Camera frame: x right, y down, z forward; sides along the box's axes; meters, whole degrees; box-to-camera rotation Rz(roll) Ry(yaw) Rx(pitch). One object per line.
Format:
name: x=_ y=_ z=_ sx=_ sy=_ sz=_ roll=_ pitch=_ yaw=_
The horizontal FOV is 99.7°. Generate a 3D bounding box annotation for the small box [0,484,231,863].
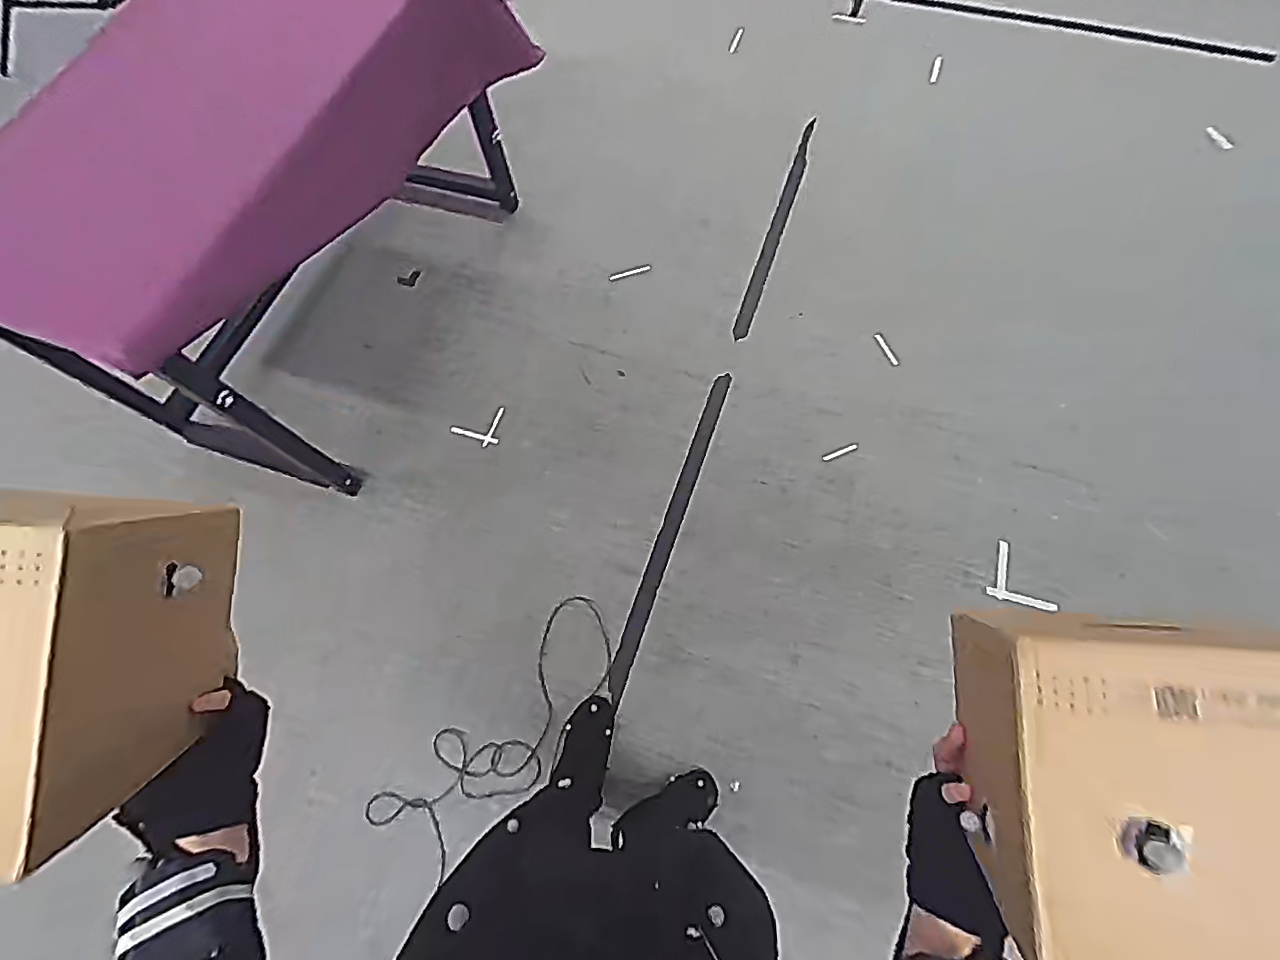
small box: x=-0.373 y=0.086 z=0.310 sx=0.168 sy=0.179 sz=0.176 roll=6 pitch=87 yaw=-13

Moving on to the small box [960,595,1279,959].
small box: x=0.292 y=0.155 z=0.308 sx=0.168 sy=0.179 sz=0.176 roll=-1 pitch=81 yaw=20
